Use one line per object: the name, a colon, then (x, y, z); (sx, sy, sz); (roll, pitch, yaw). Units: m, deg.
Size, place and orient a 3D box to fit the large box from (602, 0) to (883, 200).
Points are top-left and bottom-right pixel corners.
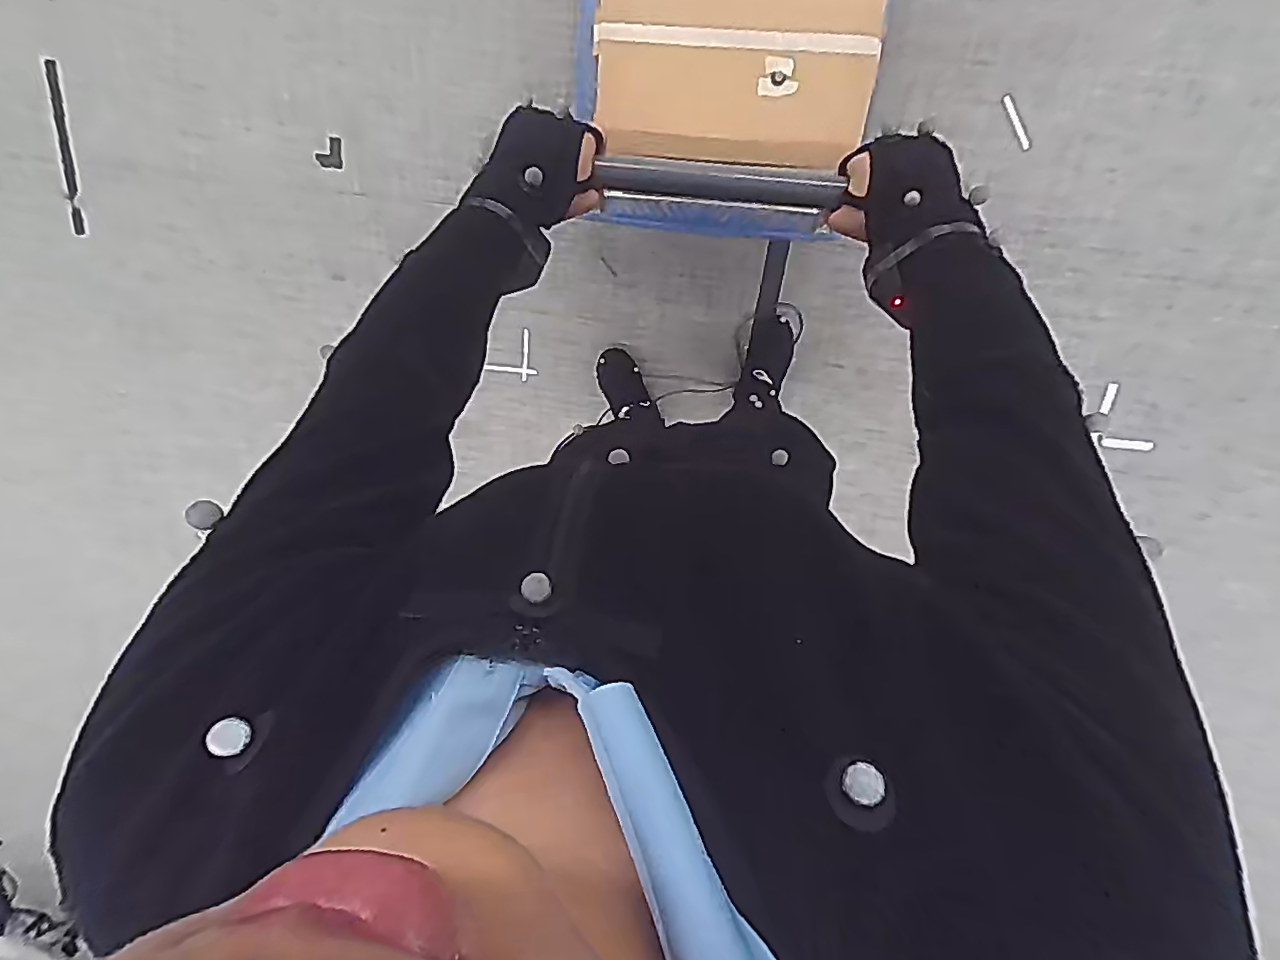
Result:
large box: (0.156, -0.690, 0.938); (0.408, 0.320, 0.320); (6, 110, 3)
